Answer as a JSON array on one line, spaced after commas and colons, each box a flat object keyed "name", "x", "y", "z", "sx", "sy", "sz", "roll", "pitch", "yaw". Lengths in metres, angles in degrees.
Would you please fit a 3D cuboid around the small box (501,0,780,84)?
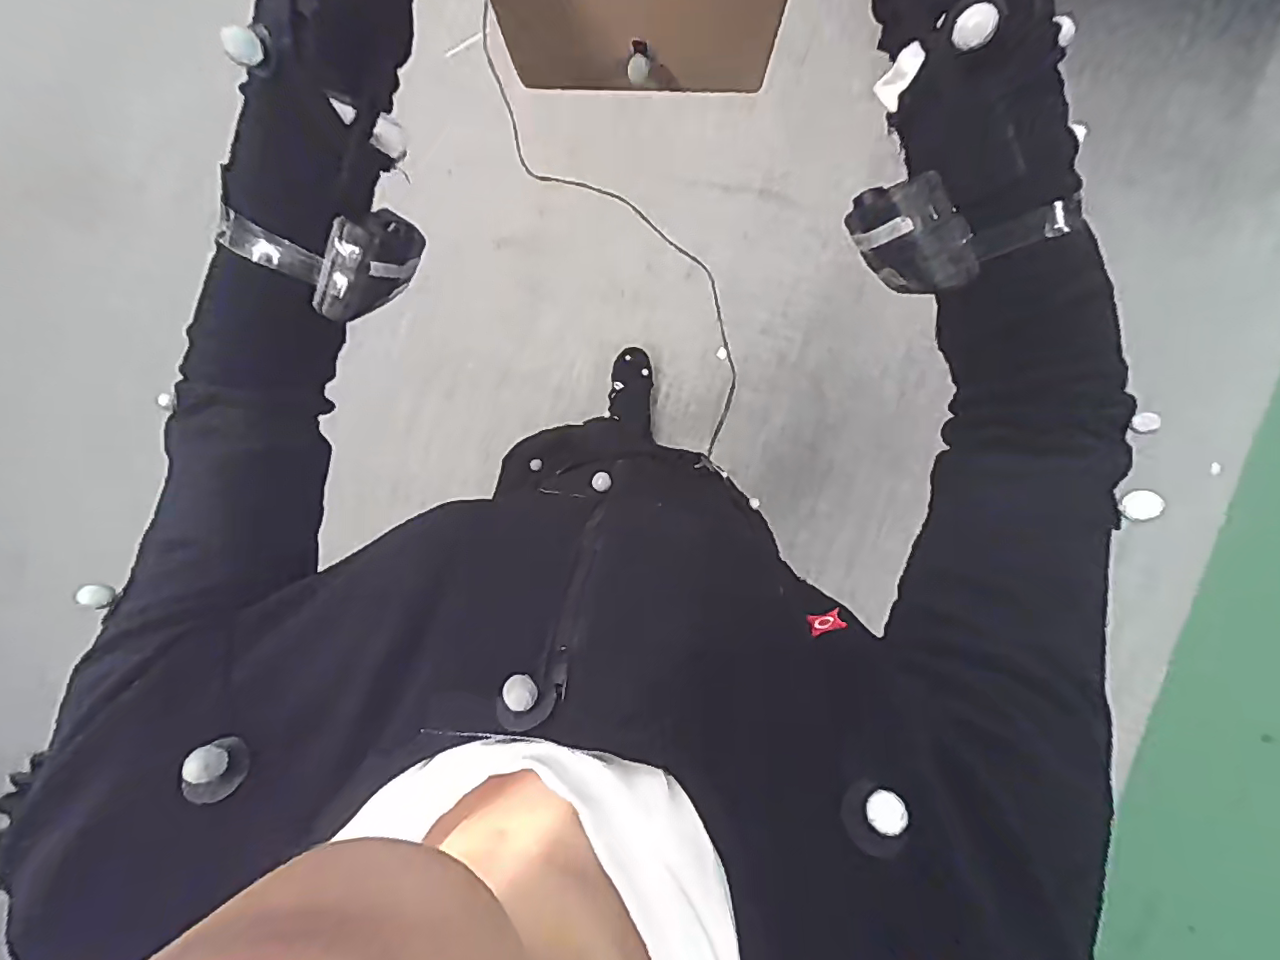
[{"name": "small box", "x": 0.005, "y": -0.364, "z": 0.308, "sx": 0.179, "sy": 0.176, "sz": 0.168, "roll": 3, "pitch": 94, "yaw": 1}]
